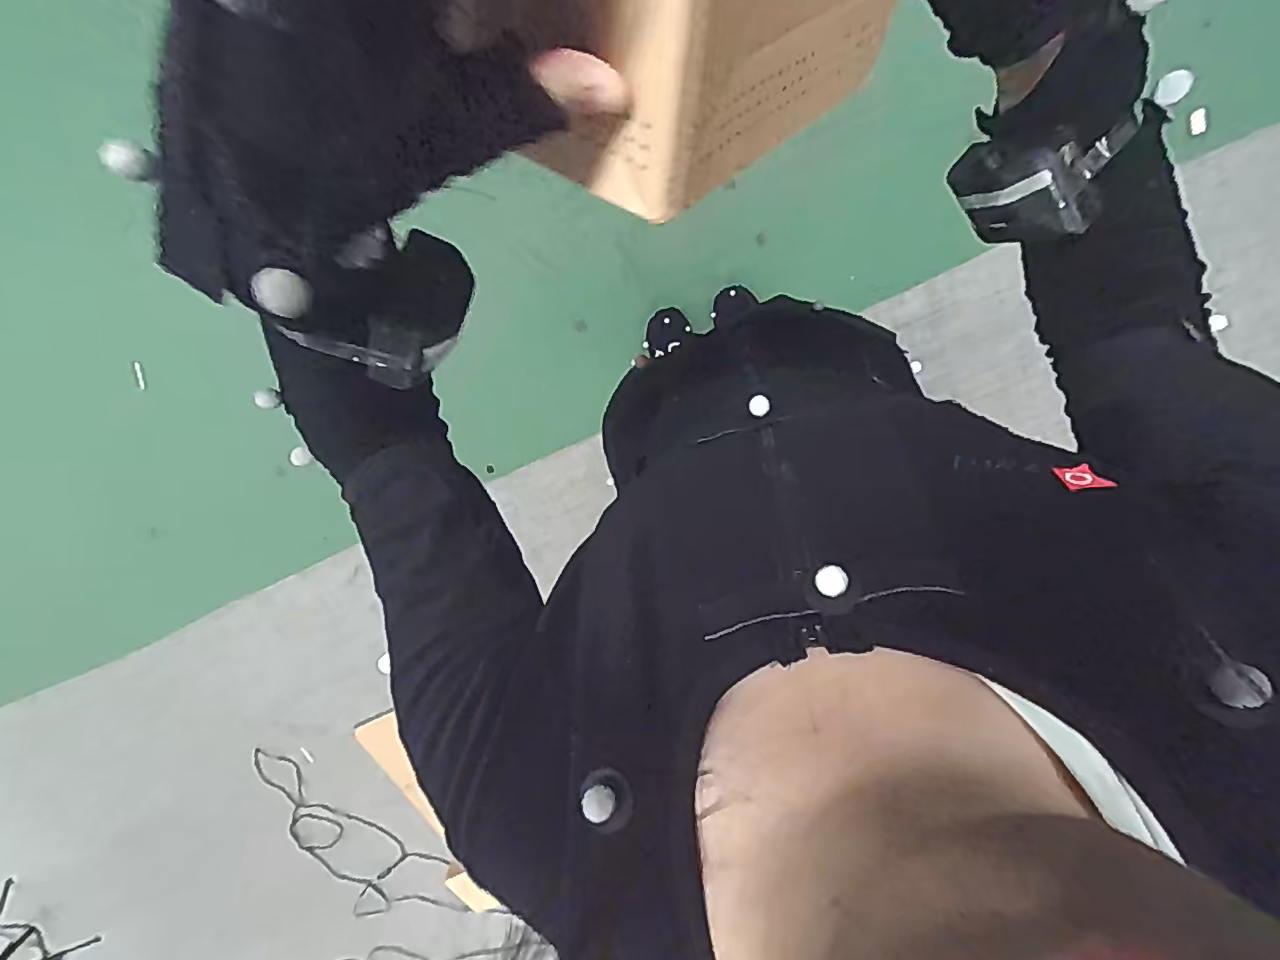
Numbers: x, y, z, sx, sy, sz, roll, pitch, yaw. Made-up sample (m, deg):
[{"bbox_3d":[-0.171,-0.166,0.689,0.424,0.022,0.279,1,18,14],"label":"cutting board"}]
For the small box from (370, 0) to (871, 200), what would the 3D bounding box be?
[{"bbox_3d":[0.000,-0.234,0.190,0.168,0.179,0.176,34,152,16],"label":"small box"}]
